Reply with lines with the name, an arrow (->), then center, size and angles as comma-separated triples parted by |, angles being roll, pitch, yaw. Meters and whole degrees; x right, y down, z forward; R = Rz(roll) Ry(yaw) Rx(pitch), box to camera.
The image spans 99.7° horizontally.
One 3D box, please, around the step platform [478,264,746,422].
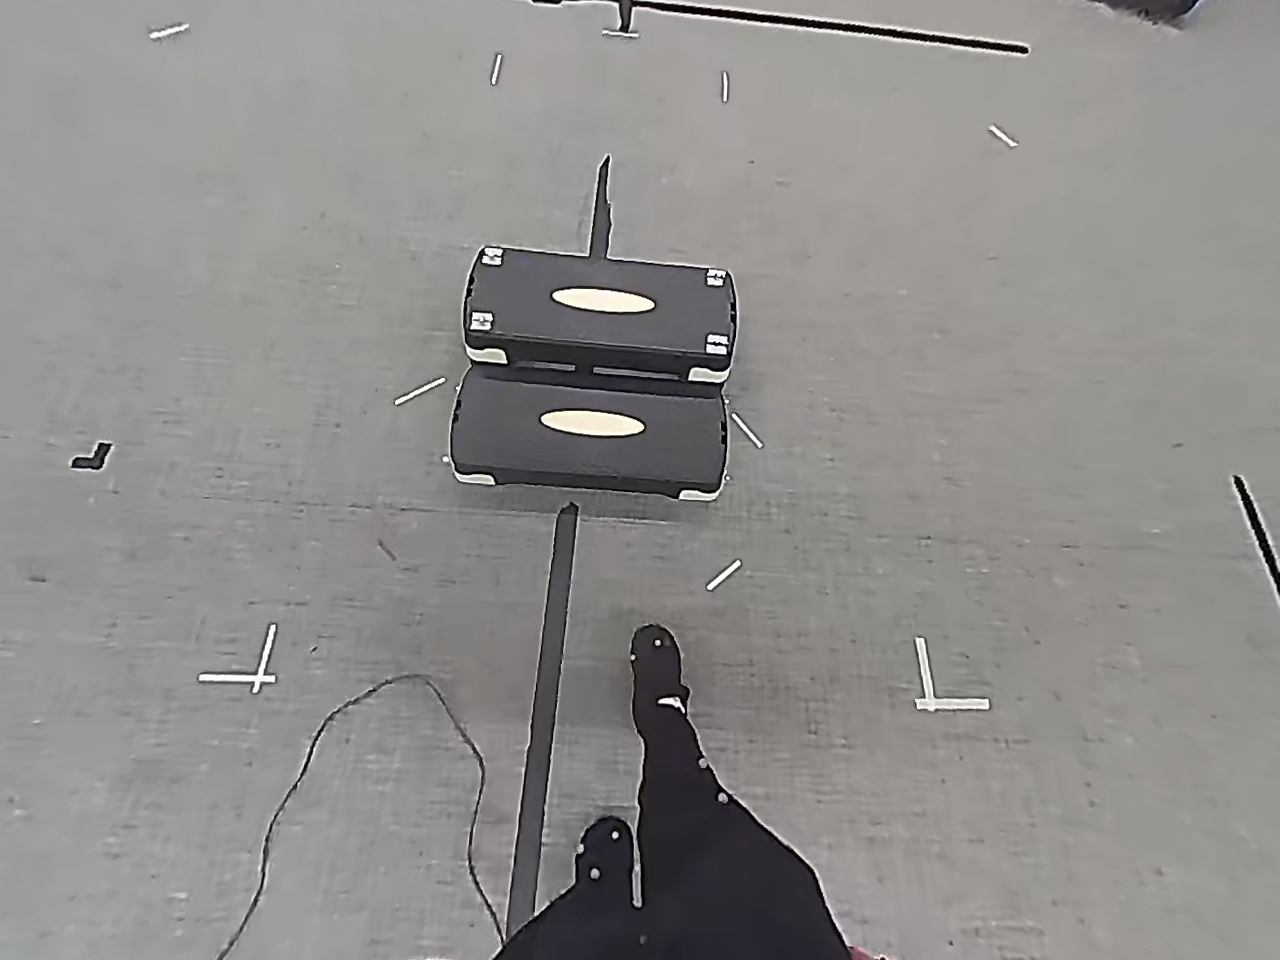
step platform -> -0.069, -0.358, 1.423 | 0.684, 0.204, 0.286 | 8, 67, -2
